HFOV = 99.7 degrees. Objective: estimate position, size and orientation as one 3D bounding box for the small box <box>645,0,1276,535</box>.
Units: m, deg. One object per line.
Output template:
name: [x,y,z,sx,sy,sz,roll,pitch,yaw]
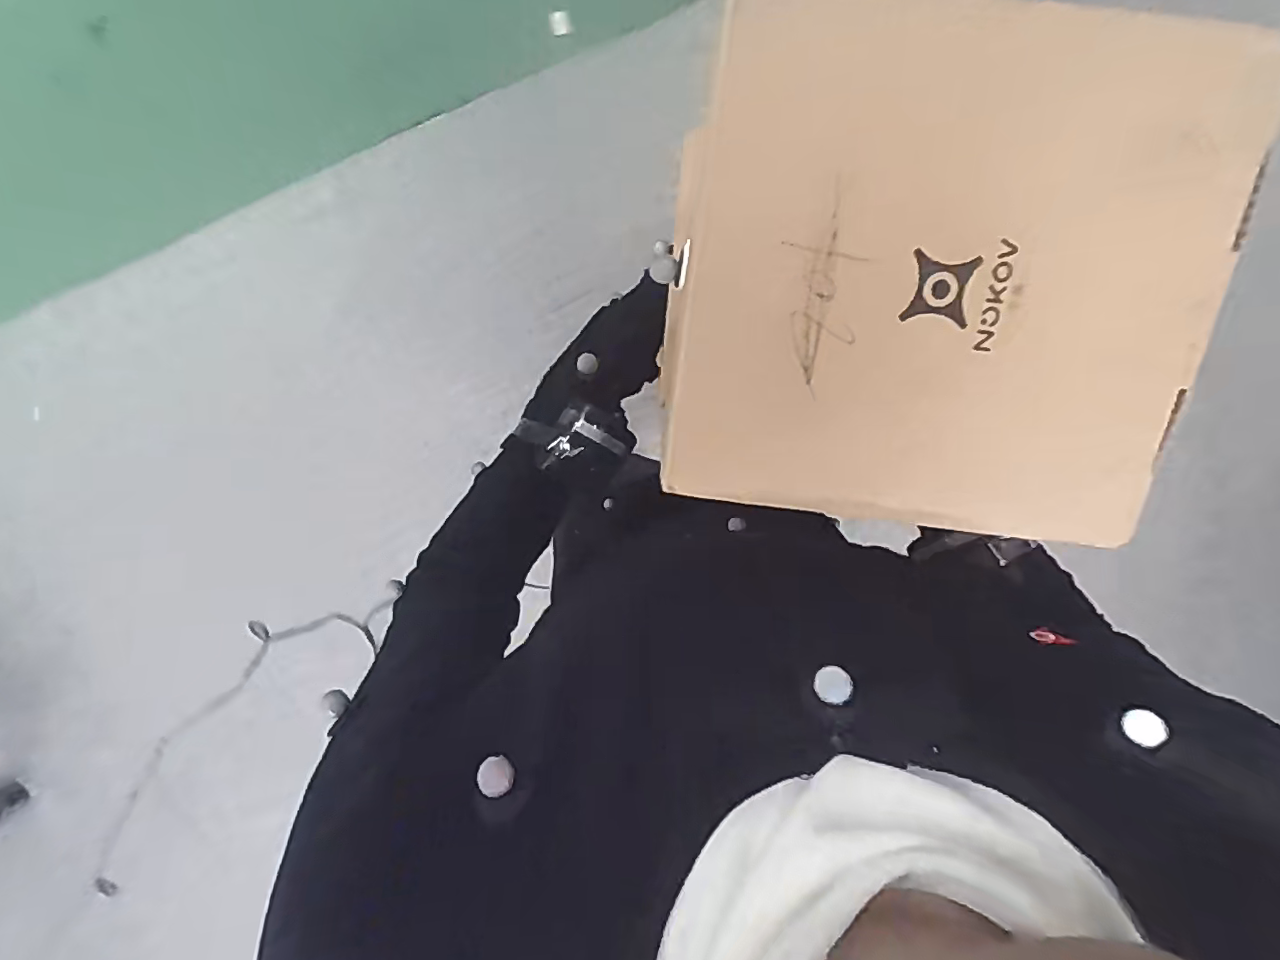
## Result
small box: [0.099,-0.085,0.258,0.179,0.176,0.168,6,103,2]
